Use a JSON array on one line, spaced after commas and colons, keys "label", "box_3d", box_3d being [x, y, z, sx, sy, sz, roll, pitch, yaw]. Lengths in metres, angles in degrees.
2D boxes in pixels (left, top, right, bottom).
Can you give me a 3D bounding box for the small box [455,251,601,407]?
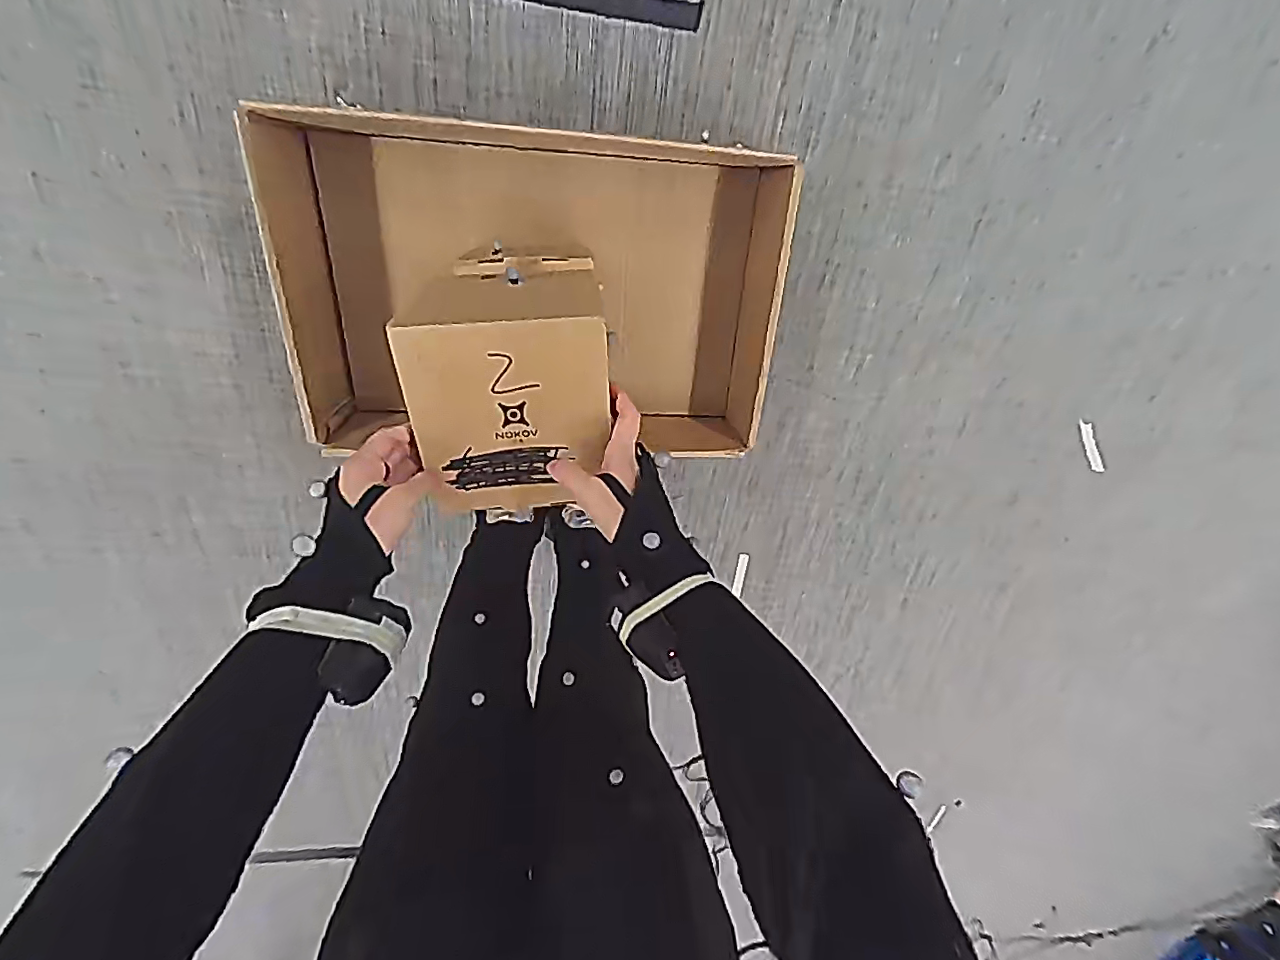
[{"label": "small box", "box_3d": [-0.143, -0.213, 0.737, 0.168, 0.176, 0.179, -4, 119, -6]}]
